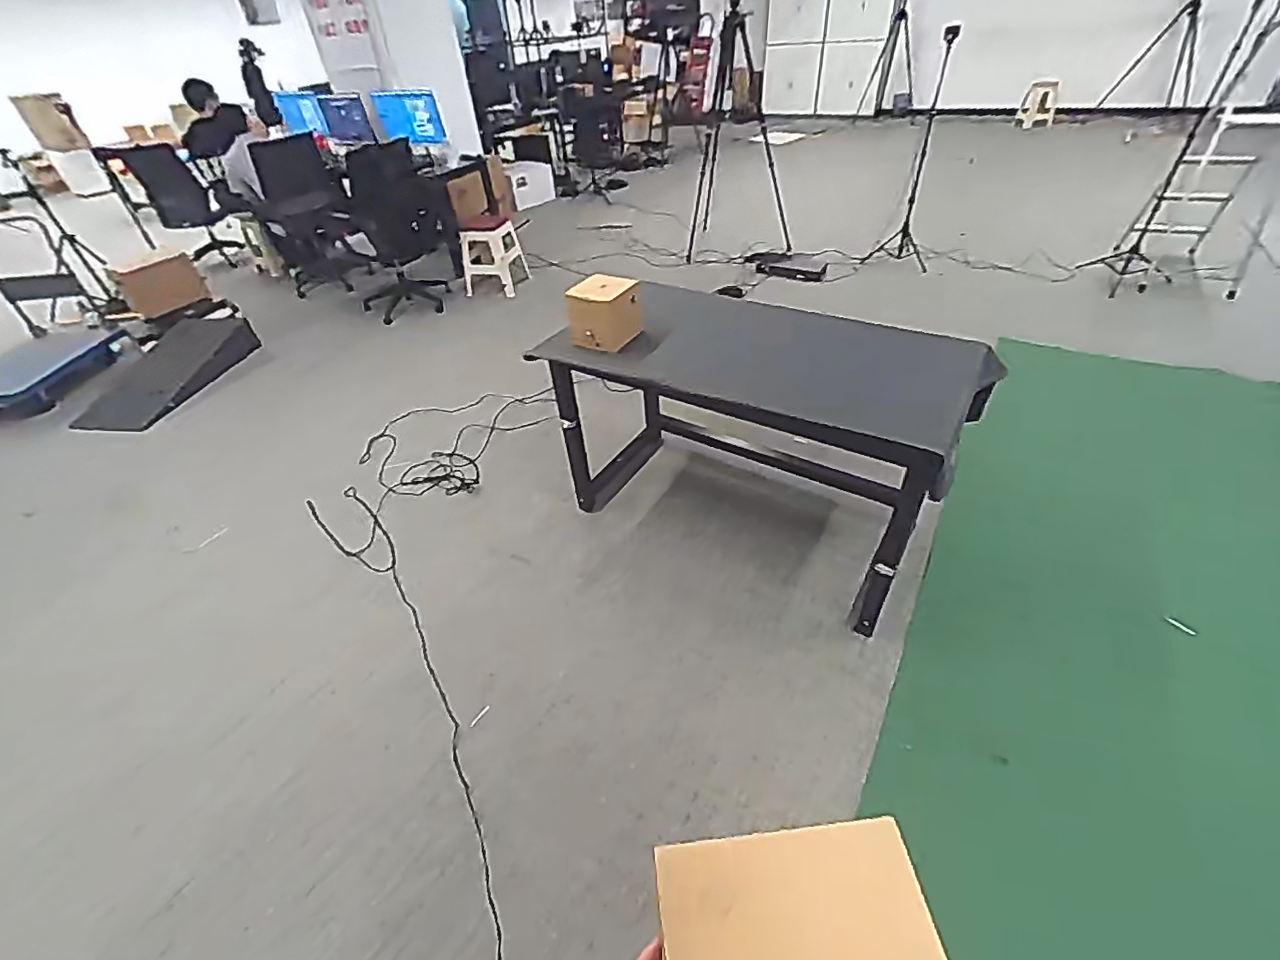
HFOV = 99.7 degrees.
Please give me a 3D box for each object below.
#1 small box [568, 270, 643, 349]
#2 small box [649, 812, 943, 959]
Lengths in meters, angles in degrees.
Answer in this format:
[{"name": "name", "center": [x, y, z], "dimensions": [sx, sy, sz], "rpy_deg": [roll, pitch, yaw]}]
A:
[{"name": "small box", "center": [-0.103, -0.534, 1.691], "dimensions": [0.168, 0.176, 0.179], "rpy_deg": [20, 46, 25]}, {"name": "small box", "center": [0.096, 0.348, 0.358], "dimensions": [0.168, 0.176, 0.179], "rpy_deg": [-5, 47, -4]}]
